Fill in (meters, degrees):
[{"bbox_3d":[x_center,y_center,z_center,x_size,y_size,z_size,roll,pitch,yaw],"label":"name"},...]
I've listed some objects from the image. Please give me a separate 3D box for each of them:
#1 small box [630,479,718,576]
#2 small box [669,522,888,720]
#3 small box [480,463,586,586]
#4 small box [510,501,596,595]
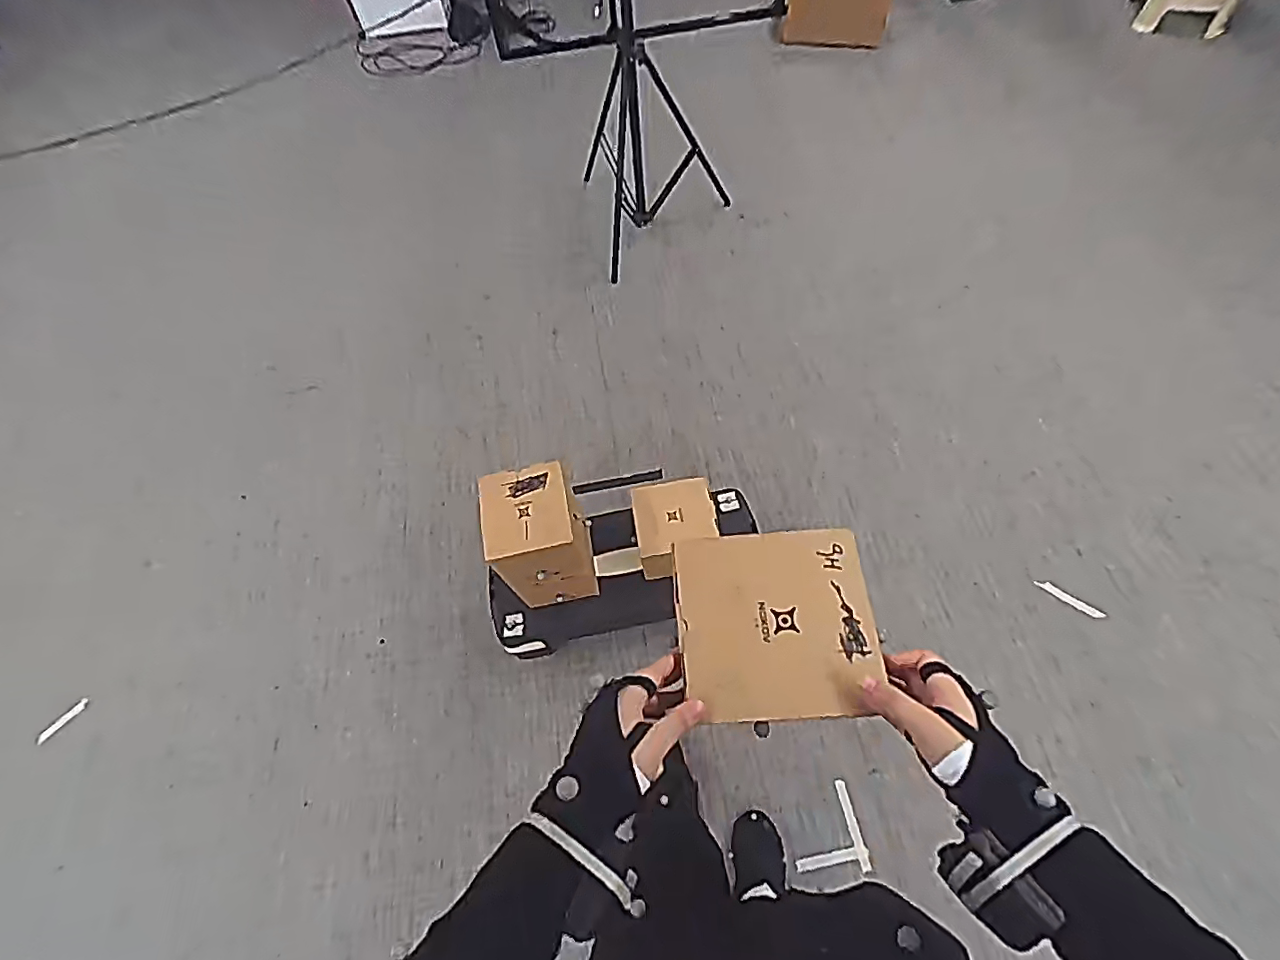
[{"bbox_3d":[0.080,0.117,1.234,0.179,0.176,0.168,-11,63,1],"label":"small box"},{"bbox_3d":[0.126,0.154,0.560,0.179,0.176,0.168,-4,65,3],"label":"small box"},{"bbox_3d":[-0.210,0.092,1.081,0.168,0.176,0.179,-12,63,-2],"label":"small box"},{"bbox_3d":[-0.196,0.171,1.225,0.168,0.176,0.179,-11,63,-1],"label":"small box"}]
